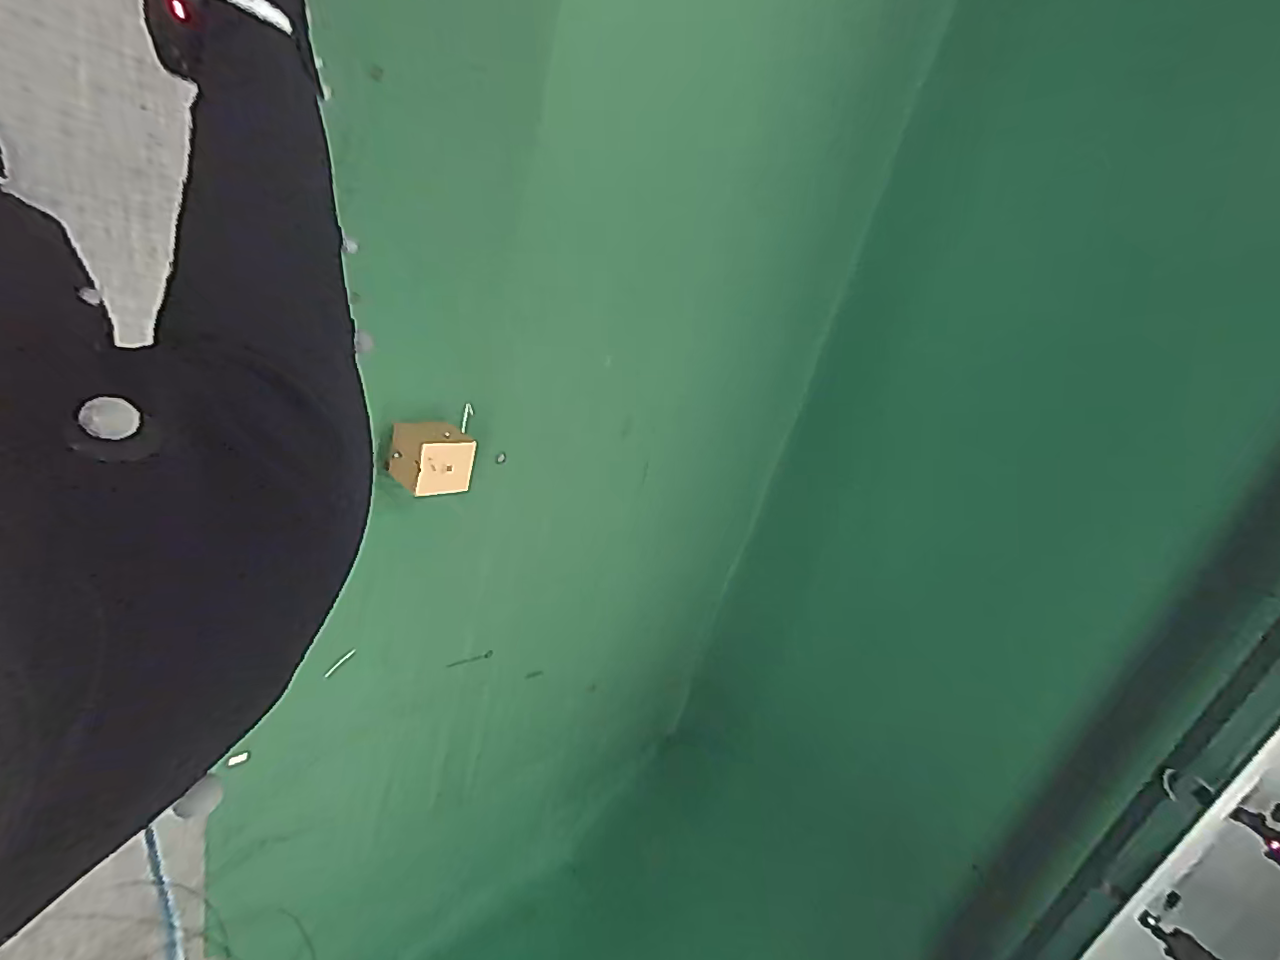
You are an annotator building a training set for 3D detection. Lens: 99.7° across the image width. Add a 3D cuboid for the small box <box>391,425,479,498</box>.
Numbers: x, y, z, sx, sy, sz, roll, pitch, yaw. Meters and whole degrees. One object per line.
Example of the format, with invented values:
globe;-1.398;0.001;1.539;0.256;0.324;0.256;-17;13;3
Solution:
small box;-0.619;-0.062;1.629;0.179;0.176;0.168;-6;119;-50
